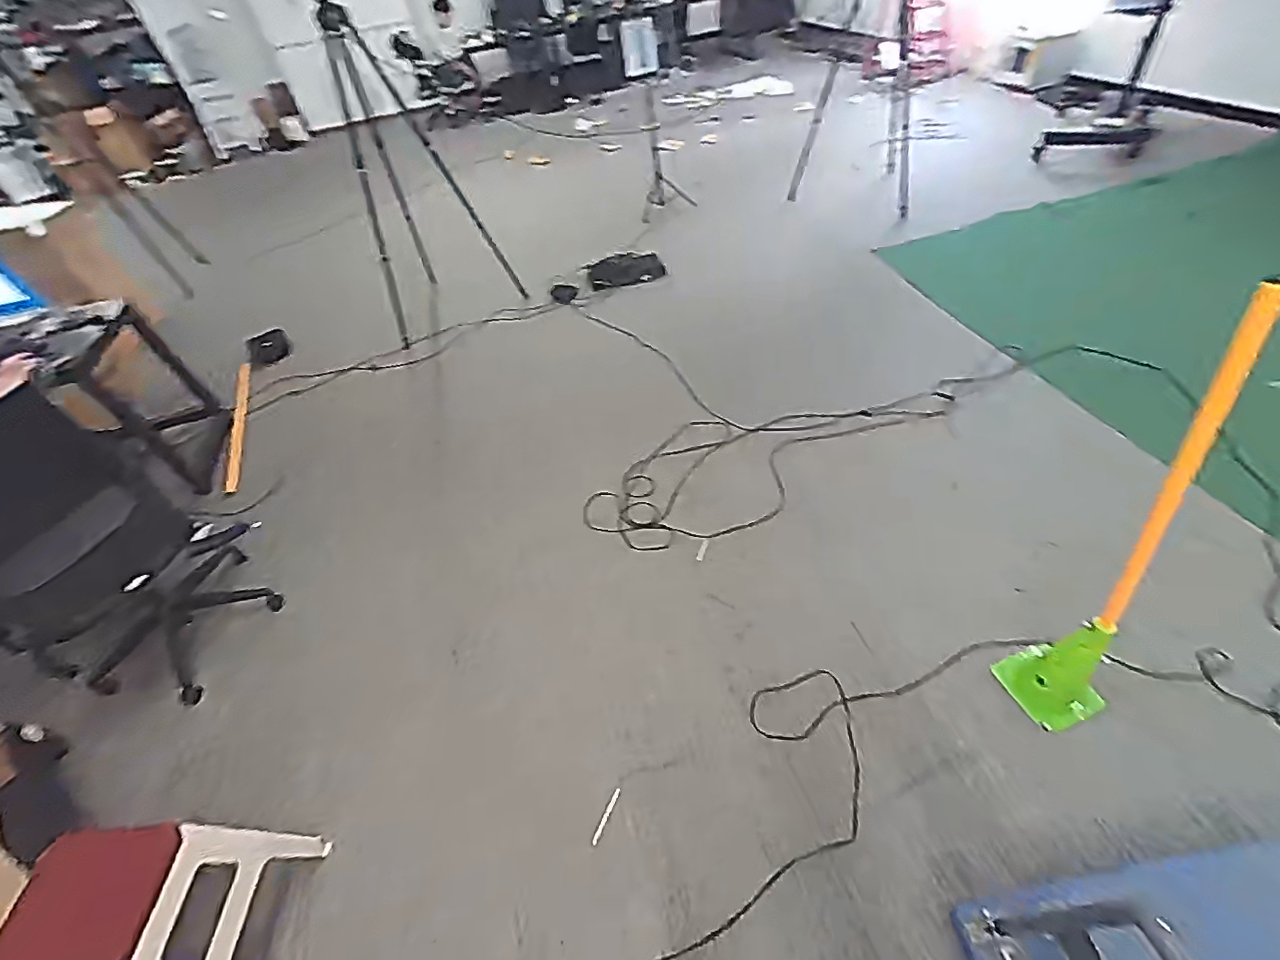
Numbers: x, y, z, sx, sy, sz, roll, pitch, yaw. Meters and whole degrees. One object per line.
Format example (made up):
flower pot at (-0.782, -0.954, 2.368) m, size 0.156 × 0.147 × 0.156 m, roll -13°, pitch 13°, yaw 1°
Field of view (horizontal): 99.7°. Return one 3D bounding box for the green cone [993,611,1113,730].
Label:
green cone at (1.090, 0.442, 1.358) m, size 0.200 × 0.368 × 0.202 m, roll -20°, pitch 46°, yaw -8°
